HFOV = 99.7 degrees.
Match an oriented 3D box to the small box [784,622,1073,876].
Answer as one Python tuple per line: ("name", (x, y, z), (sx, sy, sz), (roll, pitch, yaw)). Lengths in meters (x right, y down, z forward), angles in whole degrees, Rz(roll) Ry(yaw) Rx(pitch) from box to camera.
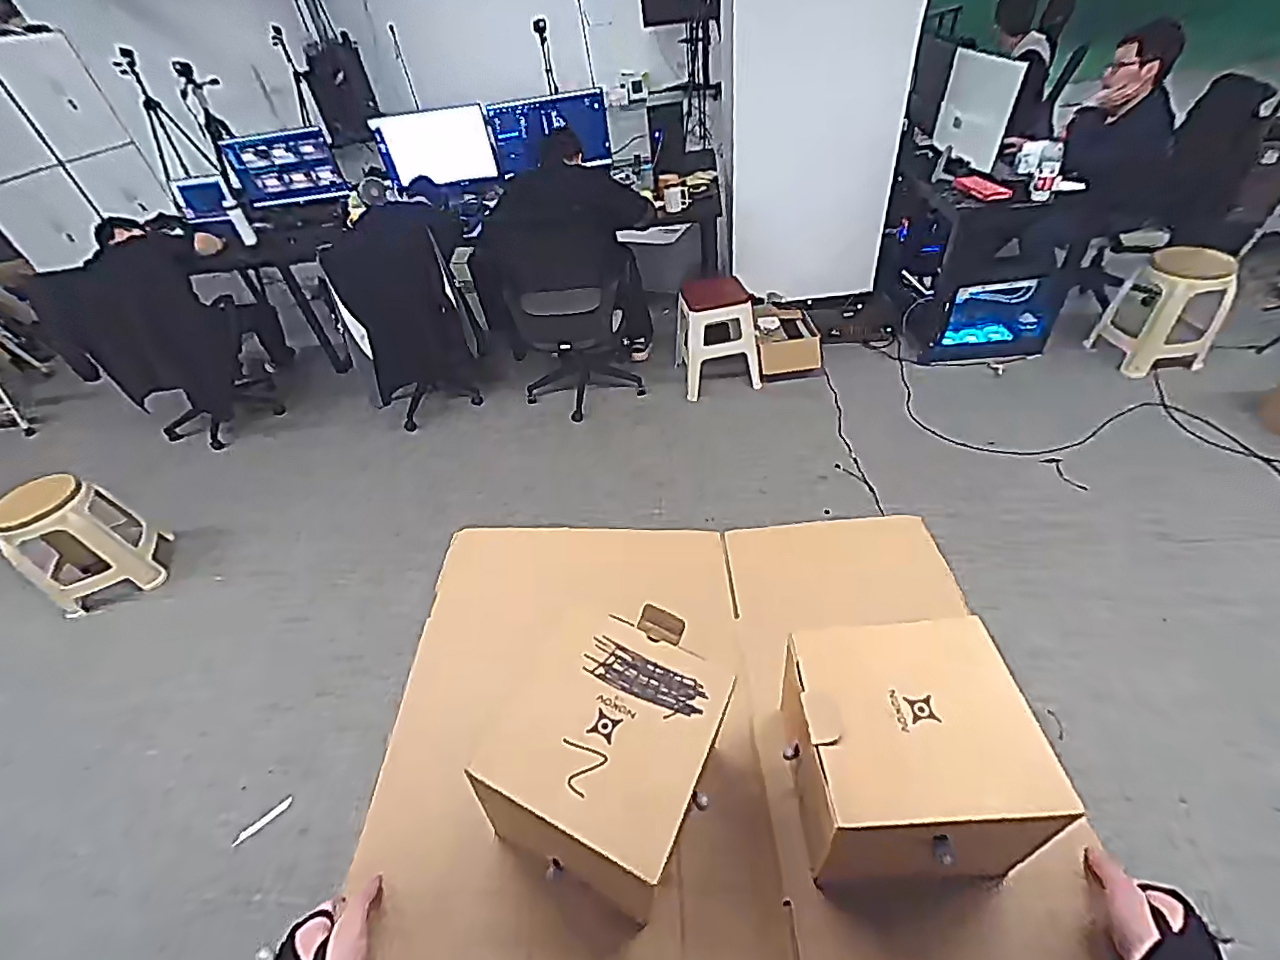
("small box", (0.243, 0.257, 0.514), (0.179, 0.176, 0.168), (-7, 42, 4))
